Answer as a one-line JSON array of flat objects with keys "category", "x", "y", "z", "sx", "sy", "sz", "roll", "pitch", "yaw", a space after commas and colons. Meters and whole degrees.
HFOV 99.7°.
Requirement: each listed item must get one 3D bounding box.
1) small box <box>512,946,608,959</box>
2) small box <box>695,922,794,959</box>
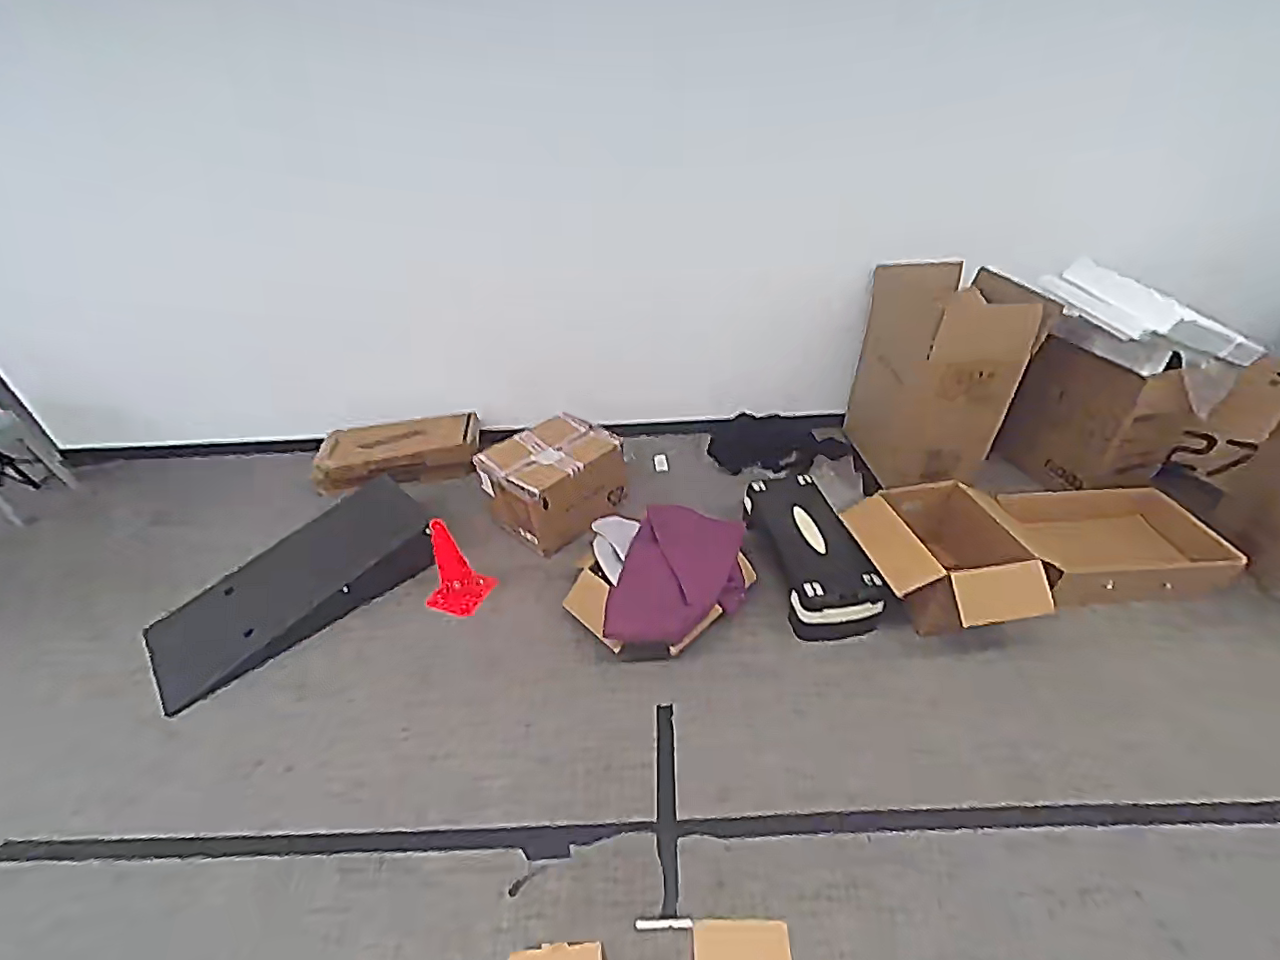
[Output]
[{"category": "small box", "x": -0.131, "y": 0.933, "z": 0.916, "sx": 0.168, "sy": 0.176, "sz": 0.179, "roll": -6, "pitch": 37, "yaw": 0}, {"category": "small box", "x": 0.180, "y": 0.899, "z": 0.930, "sx": 0.168, "sy": 0.176, "sz": 0.179, "roll": -2, "pitch": 36, "yaw": 3}]
